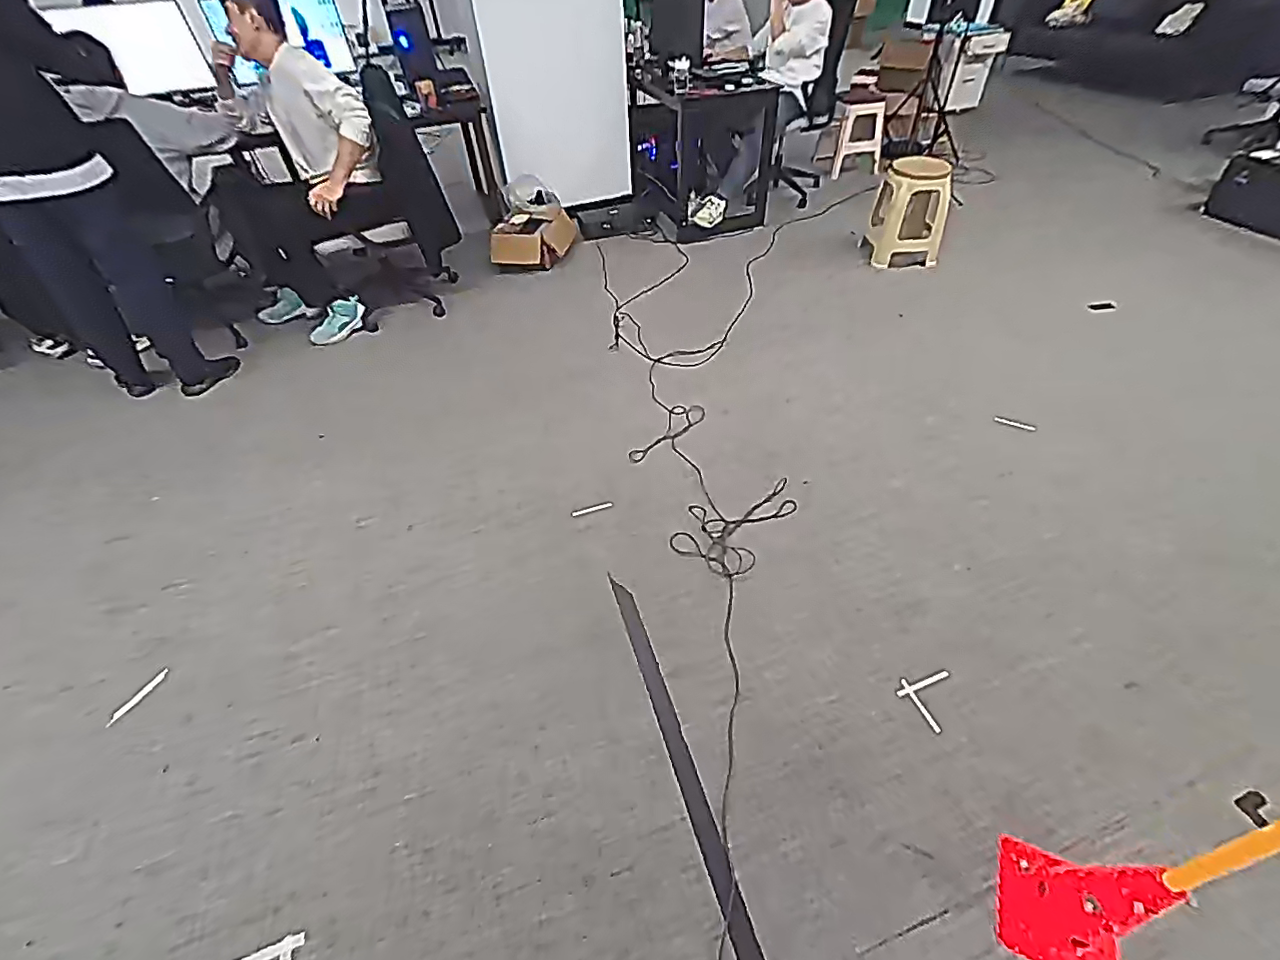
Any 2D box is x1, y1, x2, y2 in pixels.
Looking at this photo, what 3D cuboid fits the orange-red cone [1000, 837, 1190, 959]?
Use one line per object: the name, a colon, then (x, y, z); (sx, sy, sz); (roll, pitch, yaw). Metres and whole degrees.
orange-red cone: (0.795, 0.711, 0.915); (0.198, 0.360, 0.199); (18, 51, 21)
